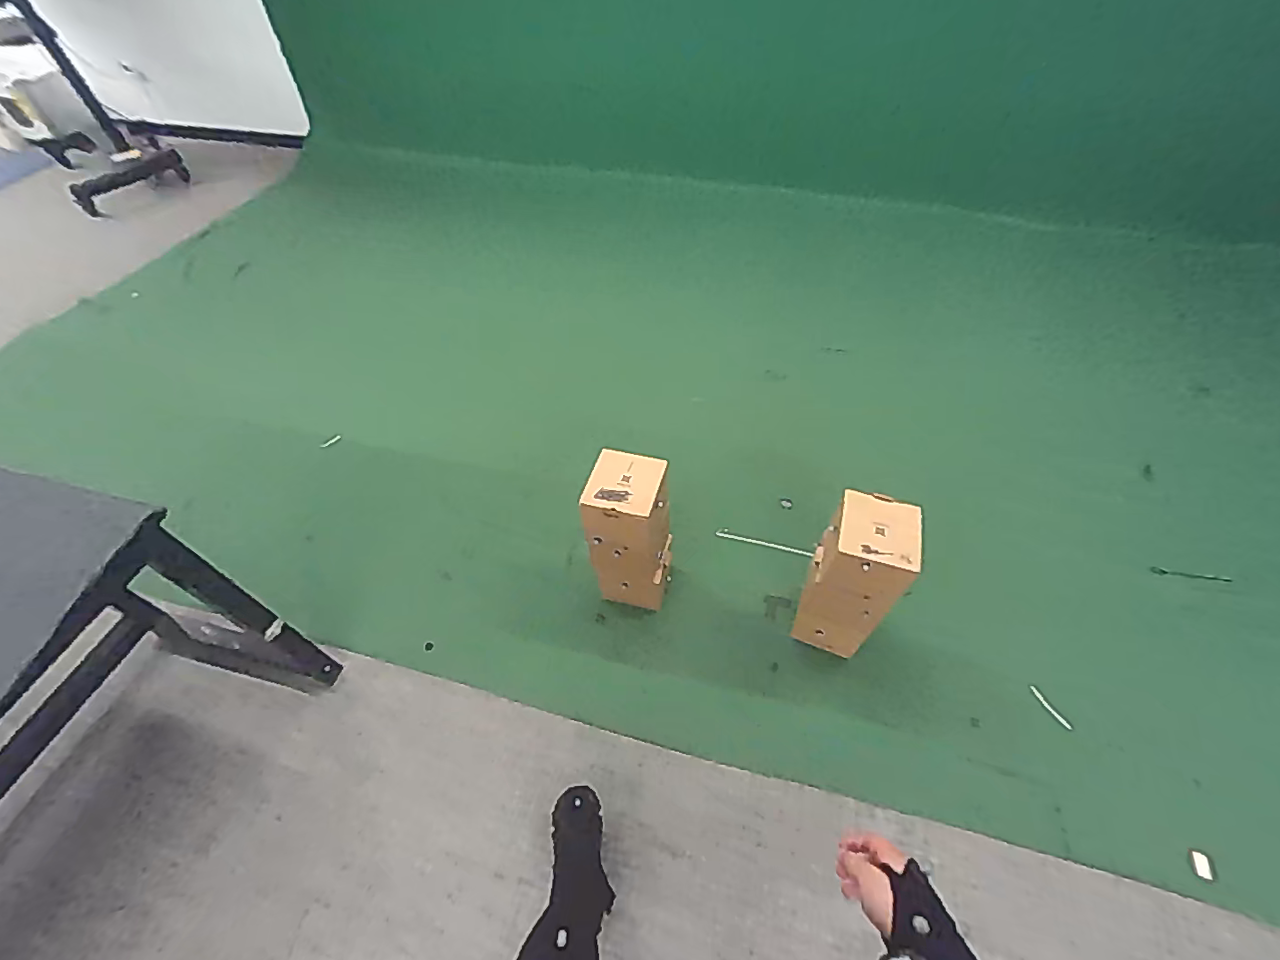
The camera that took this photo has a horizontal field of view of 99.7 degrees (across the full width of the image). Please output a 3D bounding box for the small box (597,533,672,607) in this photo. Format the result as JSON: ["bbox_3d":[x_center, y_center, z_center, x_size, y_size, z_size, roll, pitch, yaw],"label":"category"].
[{"bbox_3d":[-0.012,0.248,1.565,0.179,0.176,0.168,11,54,10],"label":"small box"}]

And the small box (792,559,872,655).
[{"bbox_3d":[0.526,0.353,1.480,0.168,0.176,0.179,18,54,14],"label":"small box"}]

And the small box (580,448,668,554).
[{"bbox_3d":[-0.031,0.054,1.303,0.168,0.176,0.179,12,53,11],"label":"small box"}]

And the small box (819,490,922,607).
[{"bbox_3d":[0.514,0.155,1.216,0.168,0.176,0.179,15,53,11],"label":"small box"}]

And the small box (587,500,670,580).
[{"bbox_3d":[-0.026,0.146,1.439,0.179,0.176,0.168,13,54,11],"label":"small box"}]
